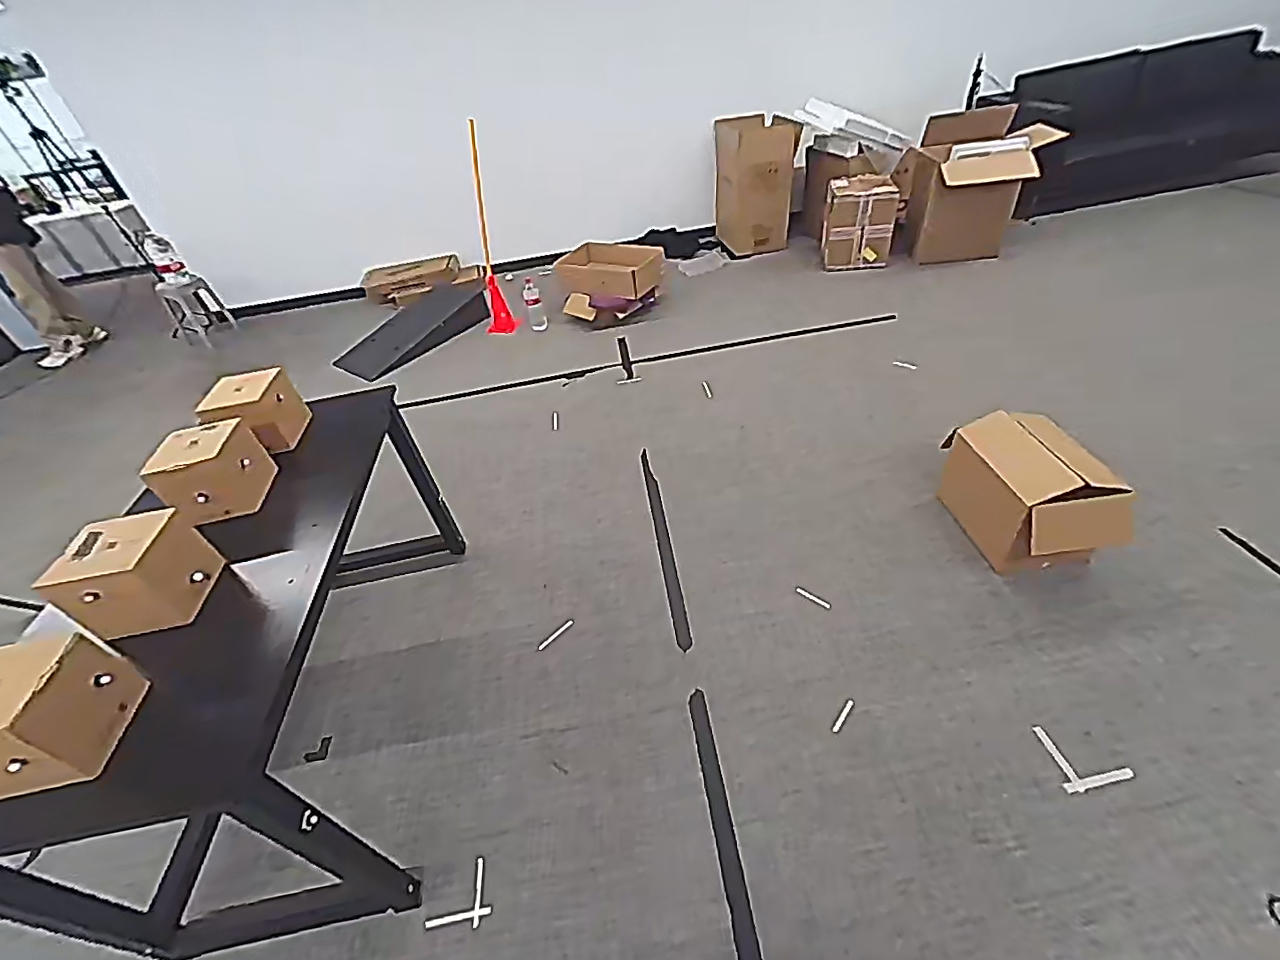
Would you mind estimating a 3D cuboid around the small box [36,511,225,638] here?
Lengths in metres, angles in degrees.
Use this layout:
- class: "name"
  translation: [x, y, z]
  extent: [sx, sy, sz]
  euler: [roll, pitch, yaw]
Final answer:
- class: "small box"
  translation: [-0.985, 0.190, 1.068]
  extent: [0.179, 0.176, 0.168]
  euler: [-11, 41, -3]

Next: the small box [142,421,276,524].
- class: "small box"
  translation: [-1.027, -0.012, 1.310]
  extent: [0.168, 0.176, 0.179]
  euler: [-14, 41, -5]

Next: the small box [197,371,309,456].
- class: "small box"
  translation: [-1.058, -0.175, 1.500]
  extent: [0.168, 0.176, 0.179]
  euler: [-11, 41, -2]

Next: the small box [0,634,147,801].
- class: "small box"
  translation: [-0.951, 0.375, 0.851]
  extent: [0.179, 0.176, 0.168]
  euler: [-13, 39, -3]
